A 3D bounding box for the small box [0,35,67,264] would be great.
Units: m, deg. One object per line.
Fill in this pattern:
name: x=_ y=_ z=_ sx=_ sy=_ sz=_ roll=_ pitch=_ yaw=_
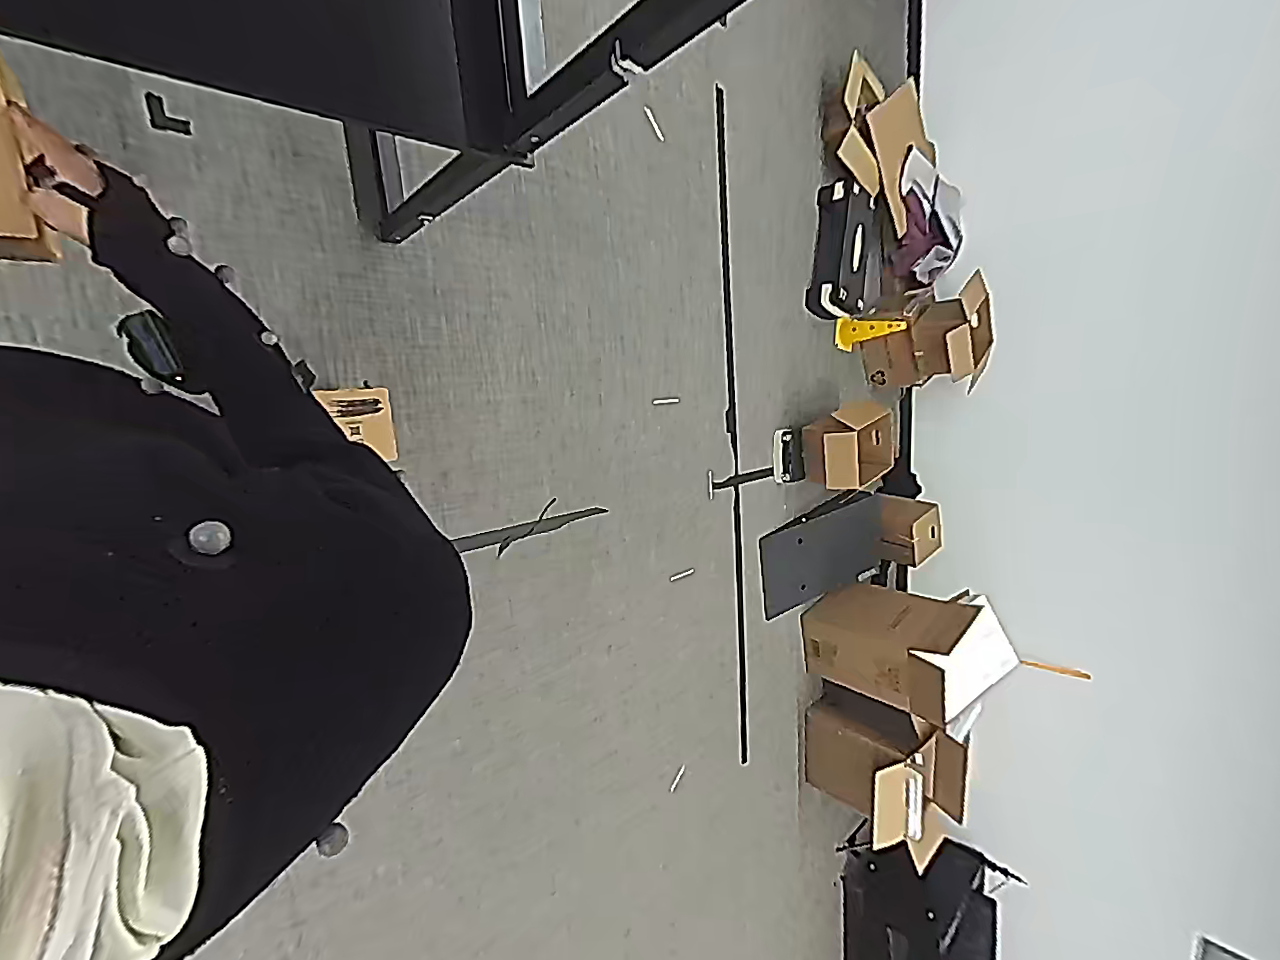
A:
small box: x=-0.629 y=-0.283 z=0.457 sx=0.179 sy=0.176 sz=0.168 roll=-12 pitch=108 yaw=-39
